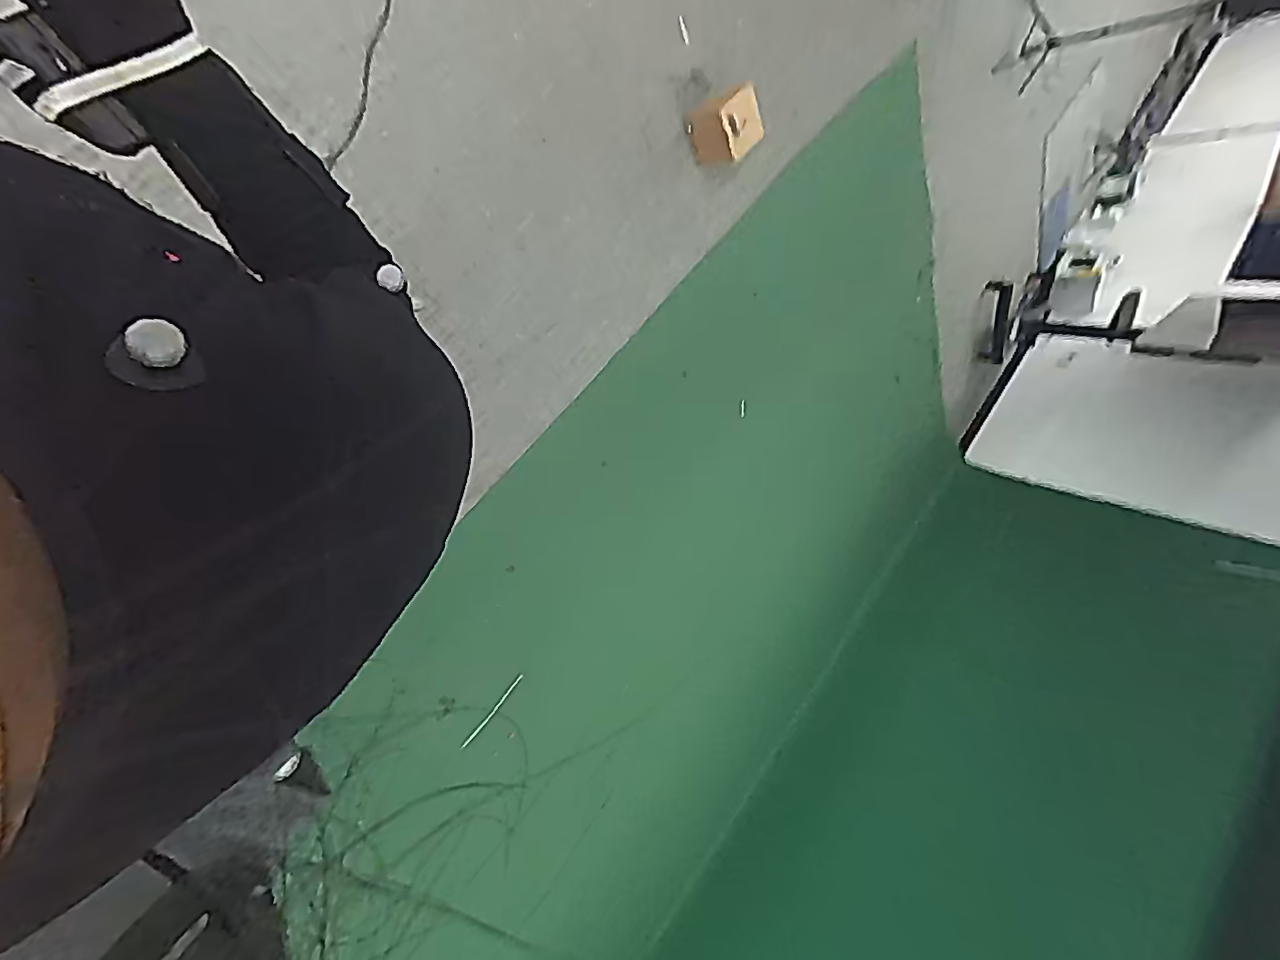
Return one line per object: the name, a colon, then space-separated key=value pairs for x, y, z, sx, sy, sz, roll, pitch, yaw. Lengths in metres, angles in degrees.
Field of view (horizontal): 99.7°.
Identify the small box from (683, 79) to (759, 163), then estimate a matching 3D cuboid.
small box: x=0.262 y=-1.185 z=1.796 sx=0.179 sy=0.176 sz=0.168 roll=-50 pitch=134 yaw=-17
